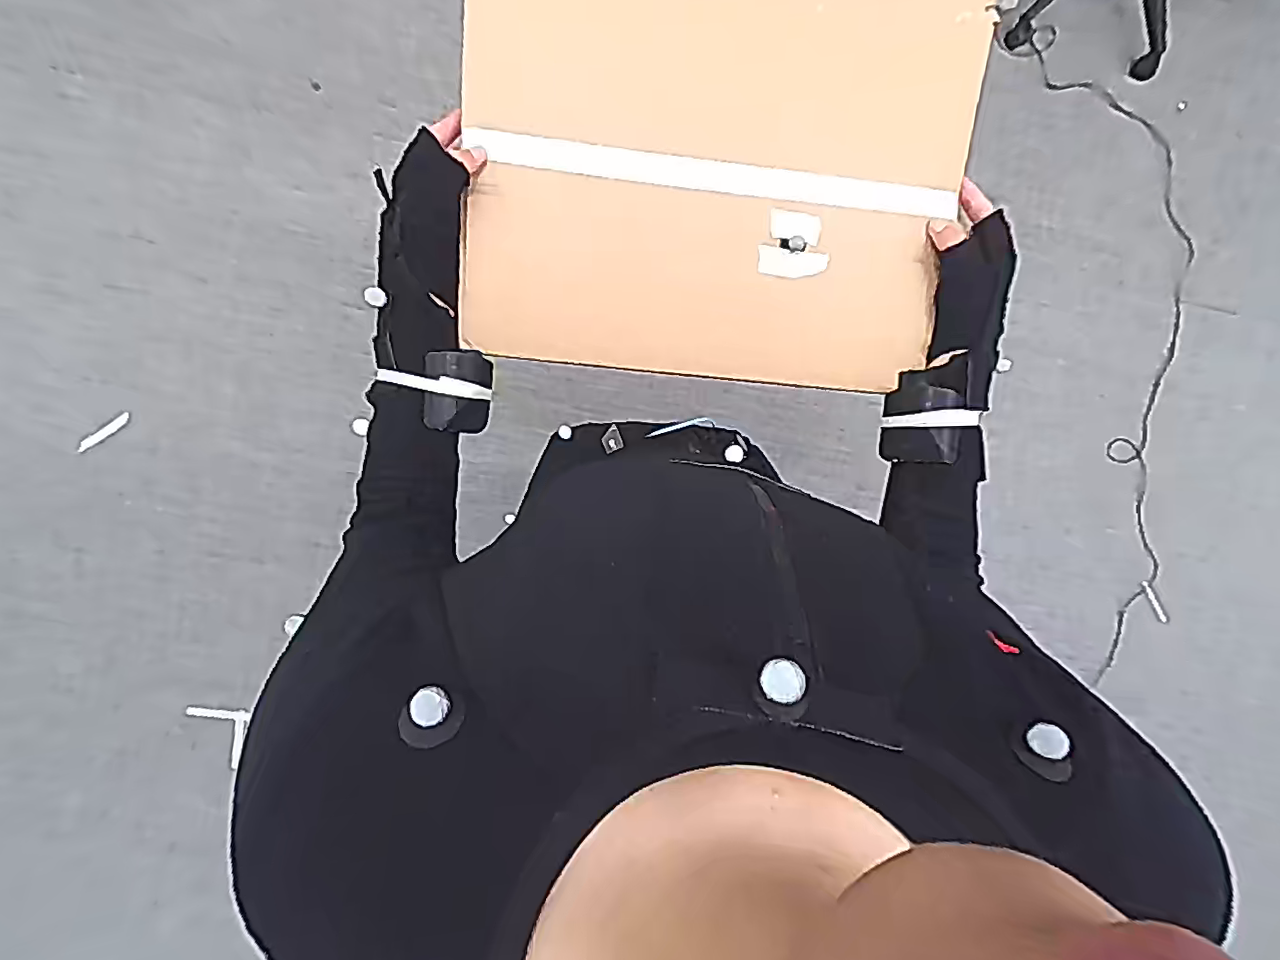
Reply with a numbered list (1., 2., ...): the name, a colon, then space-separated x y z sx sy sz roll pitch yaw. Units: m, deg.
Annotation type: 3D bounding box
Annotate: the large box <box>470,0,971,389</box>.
1. large box: 0.046 -0.277 0.594 0.408 0.320 0.320 4 104 -7
